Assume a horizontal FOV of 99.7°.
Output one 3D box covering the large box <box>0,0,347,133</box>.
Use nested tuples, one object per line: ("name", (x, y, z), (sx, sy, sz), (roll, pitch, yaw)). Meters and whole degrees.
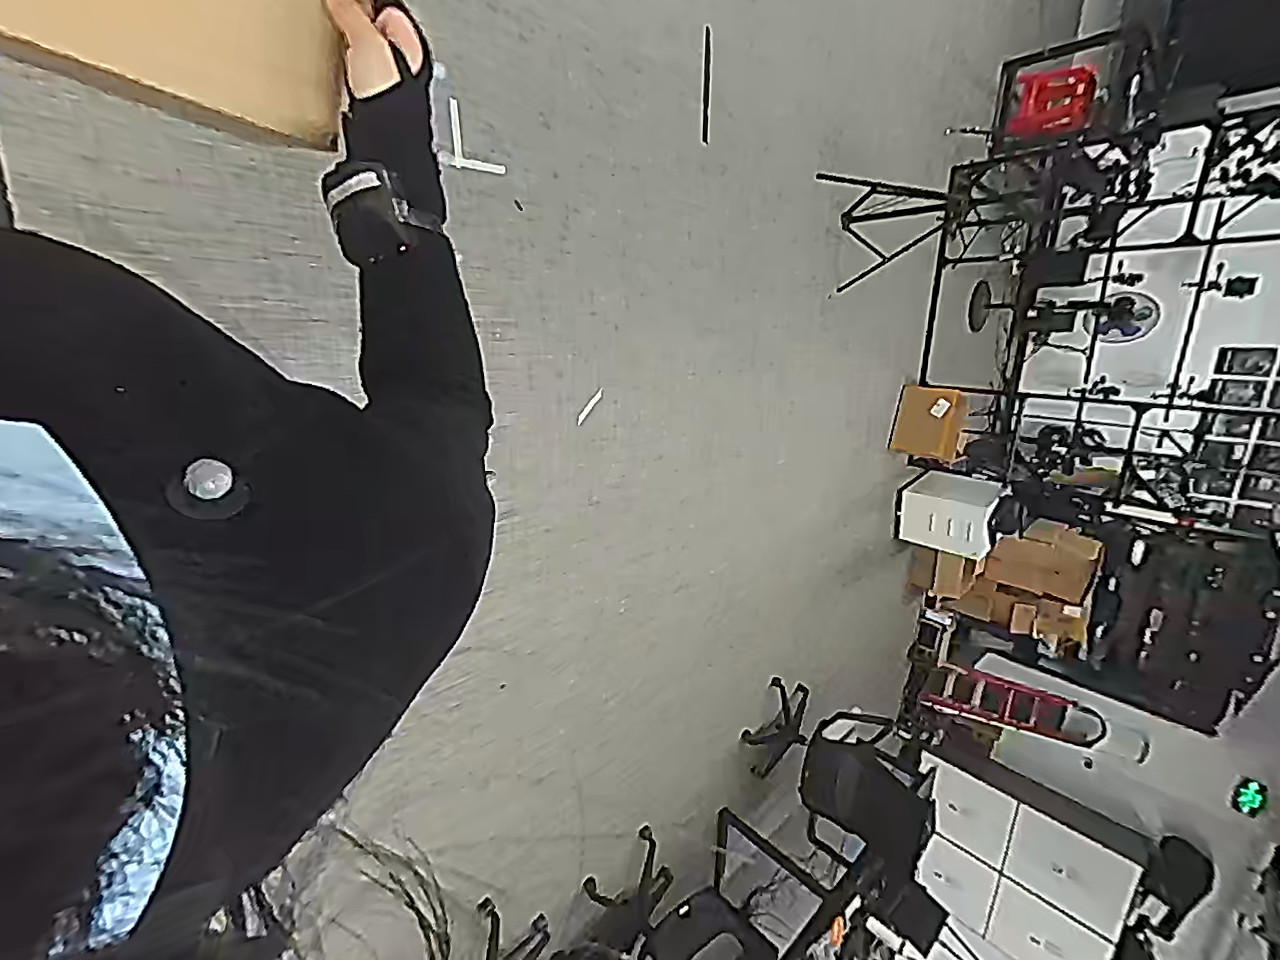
("large box", (-0.448, -0.477, 0.357), (0.408, 0.320, 0.320), (-3, 116, -45))
